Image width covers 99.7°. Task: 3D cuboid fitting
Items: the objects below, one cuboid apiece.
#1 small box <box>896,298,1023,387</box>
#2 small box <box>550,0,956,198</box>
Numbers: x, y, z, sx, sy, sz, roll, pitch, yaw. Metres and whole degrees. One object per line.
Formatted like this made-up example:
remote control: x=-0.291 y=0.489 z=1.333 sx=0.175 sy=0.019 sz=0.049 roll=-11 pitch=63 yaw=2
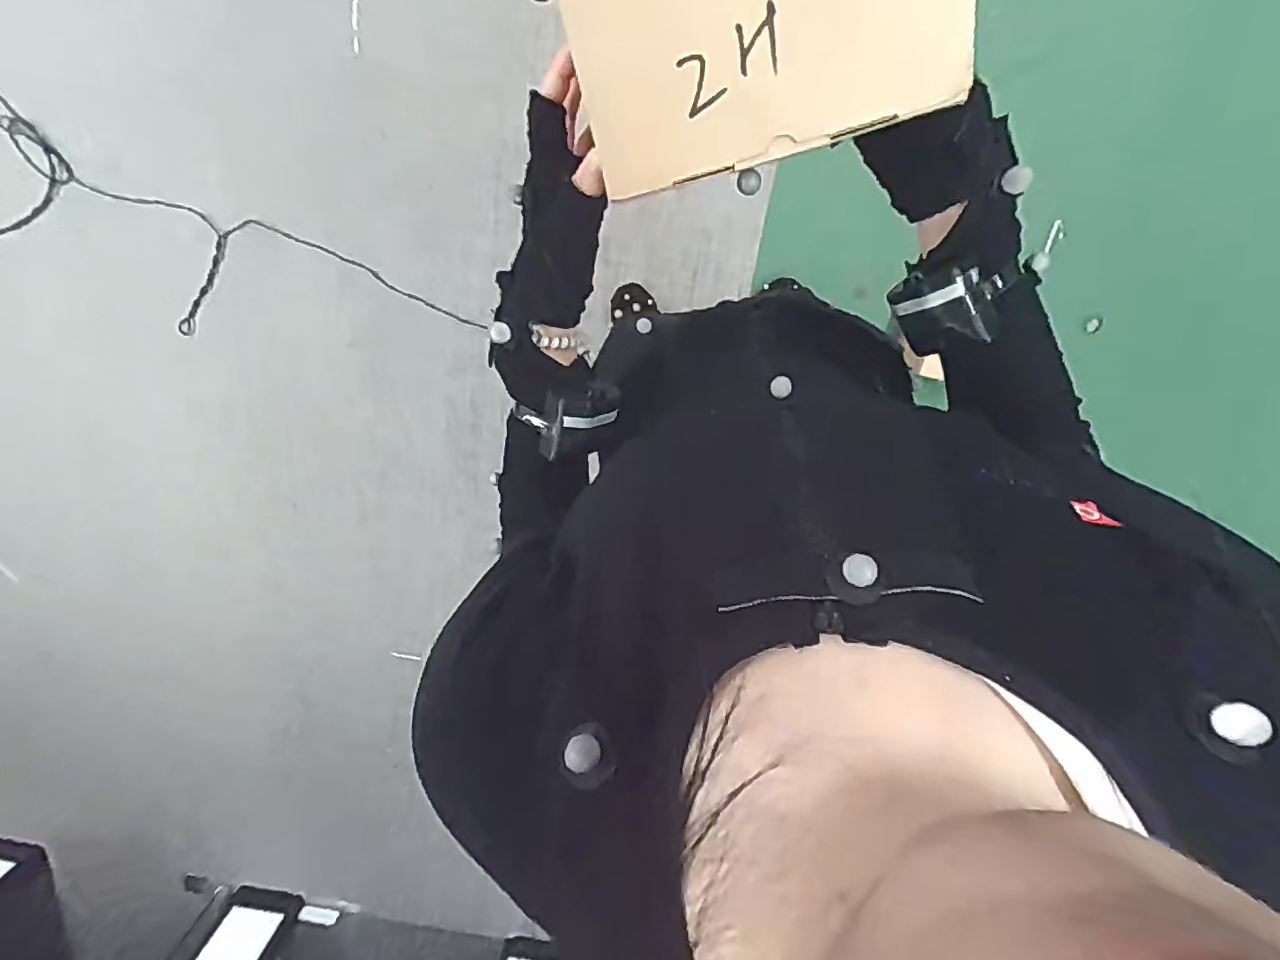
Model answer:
small box: x=0.734 y=-0.328 z=1.270 sx=0.179 sy=0.176 sz=0.168 roll=11 pitch=112 yaw=0
small box: x=0.041 y=-0.262 z=0.282 sx=0.168 sy=0.176 sz=0.179 roll=-12 pitch=116 yaw=9
